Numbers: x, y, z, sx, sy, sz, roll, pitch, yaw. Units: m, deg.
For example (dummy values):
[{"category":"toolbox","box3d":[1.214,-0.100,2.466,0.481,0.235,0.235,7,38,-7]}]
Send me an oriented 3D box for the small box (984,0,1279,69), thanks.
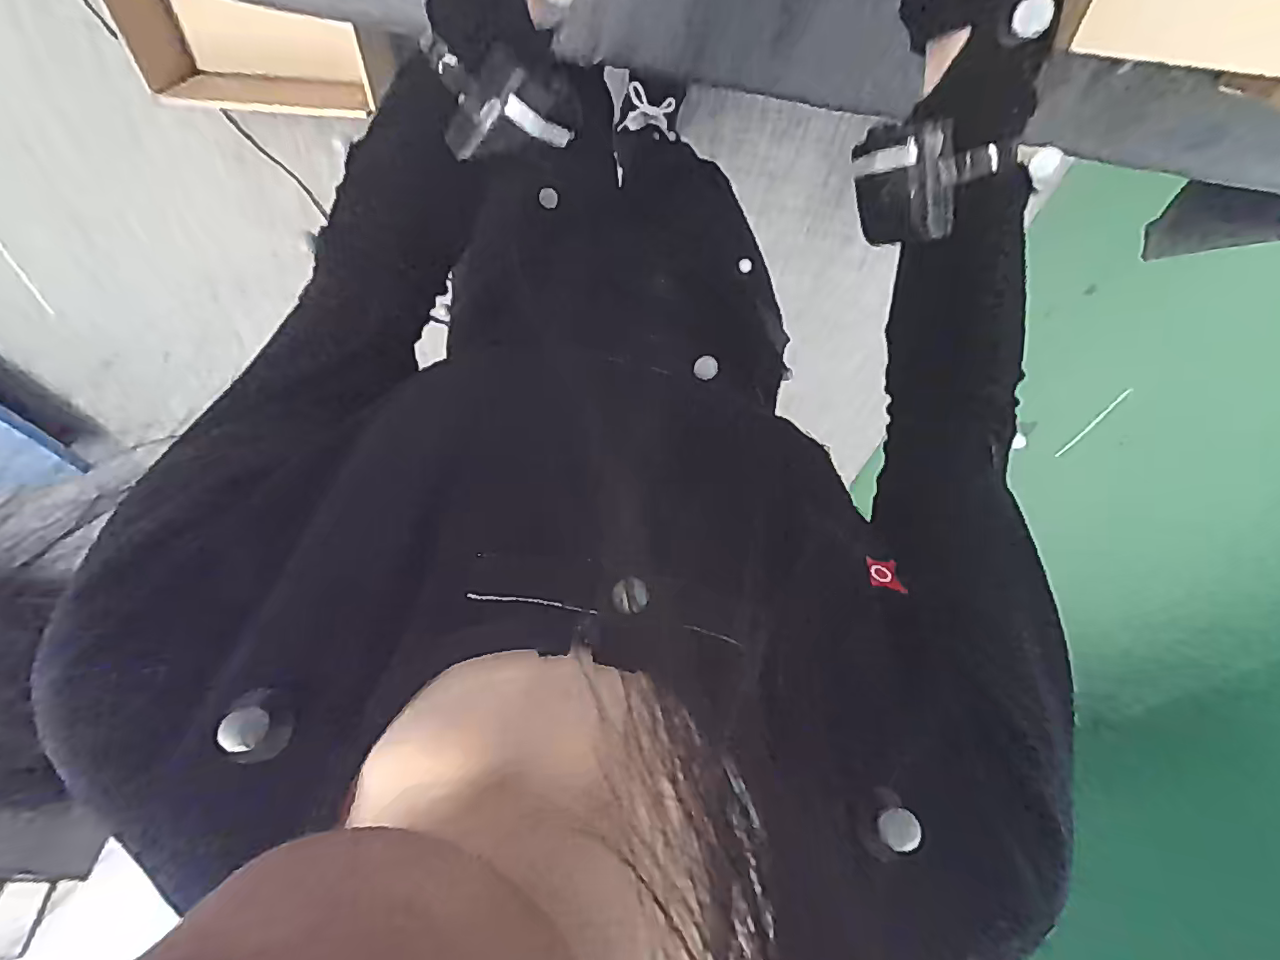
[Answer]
[{"category":"small box","box3d":[0.359,-0.382,0.335,0.179,0.176,0.168,3,139,-5]}]
